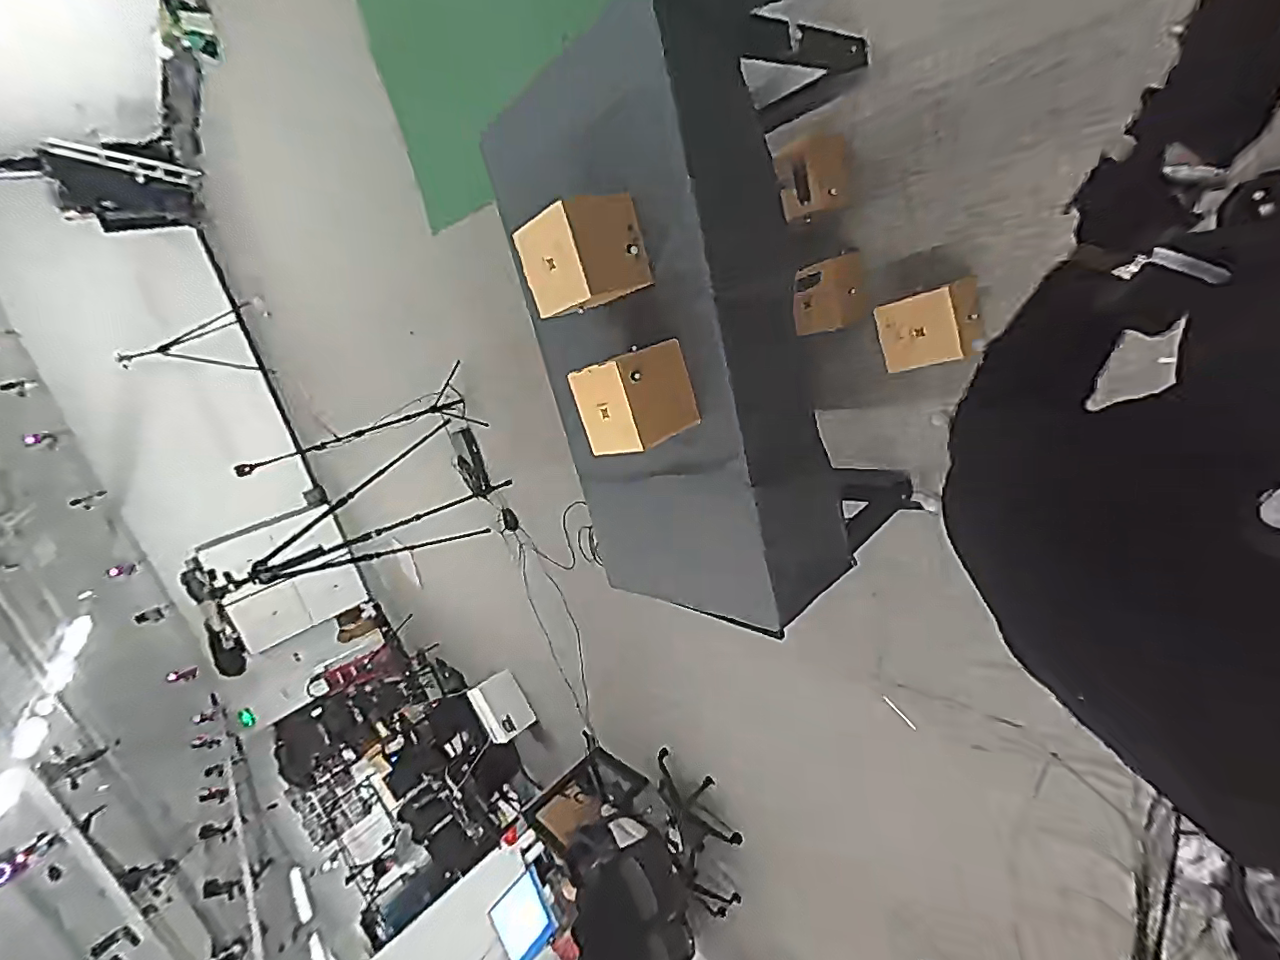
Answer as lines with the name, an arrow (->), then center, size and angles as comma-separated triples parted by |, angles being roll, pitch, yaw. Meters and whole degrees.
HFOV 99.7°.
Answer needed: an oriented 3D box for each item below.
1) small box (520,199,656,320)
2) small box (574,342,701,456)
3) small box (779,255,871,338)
small box -> -0.098, -0.421, 1.041 | 0.179, 0.176, 0.168 | 2, 115, 50
small box -> -0.001, -0.161, 1.093 | 0.168, 0.176, 0.179 | -1, 111, 51
small box -> 0.510, -0.506, 1.483 | 0.168, 0.176, 0.179 | 3, 116, 50
